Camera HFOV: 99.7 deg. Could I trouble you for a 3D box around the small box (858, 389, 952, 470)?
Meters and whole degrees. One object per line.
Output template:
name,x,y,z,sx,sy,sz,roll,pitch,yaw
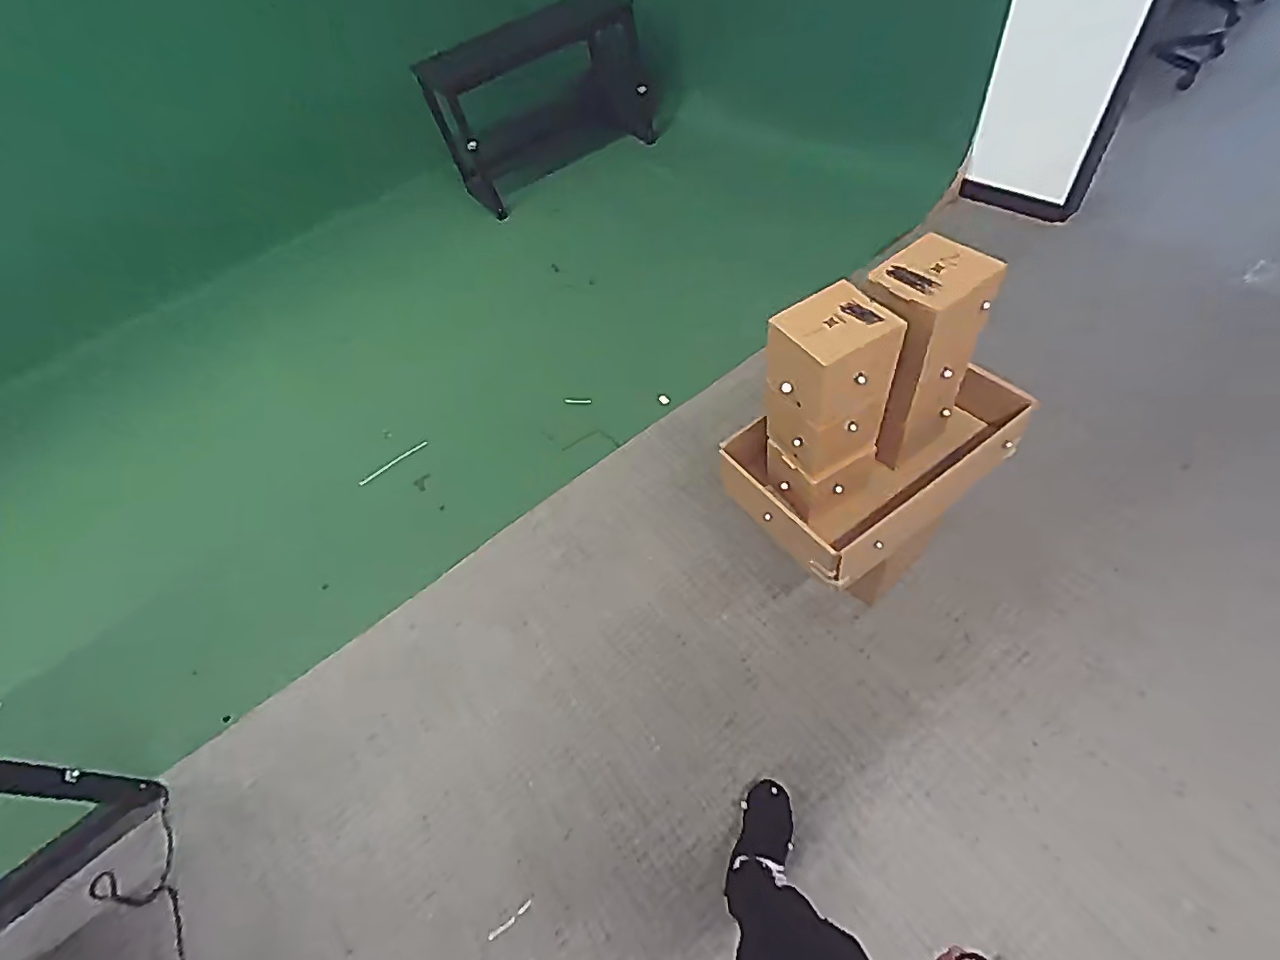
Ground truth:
small box,0.622,-0.159,1.338,0.179,0.176,0.168,-35,54,-10

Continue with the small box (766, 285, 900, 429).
small box,0.357,-0.233,1.041,0.179,0.176,0.168,-29,54,-8

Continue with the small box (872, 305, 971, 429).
small box,0.587,-0.249,1.208,0.179,0.176,0.168,-36,55,-10

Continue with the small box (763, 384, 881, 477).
small box,0.385,-0.137,1.171,0.179,0.176,0.168,-28,54,-9
